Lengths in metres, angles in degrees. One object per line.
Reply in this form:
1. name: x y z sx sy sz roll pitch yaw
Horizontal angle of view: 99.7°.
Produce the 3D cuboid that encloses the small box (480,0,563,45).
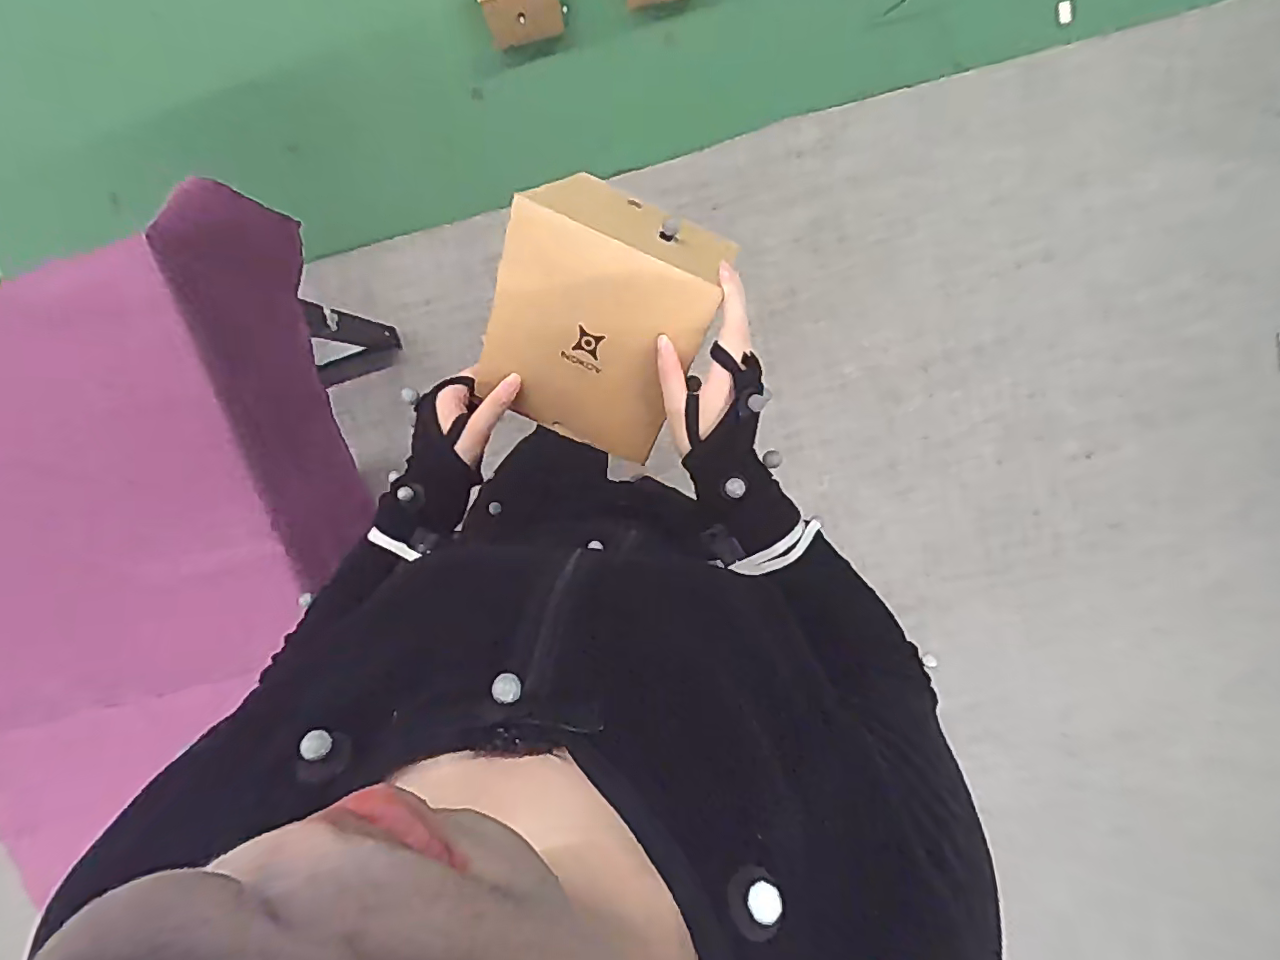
1. small box: -0.281 -1.156 1.243 0.179 0.176 0.168 -12 97 4
